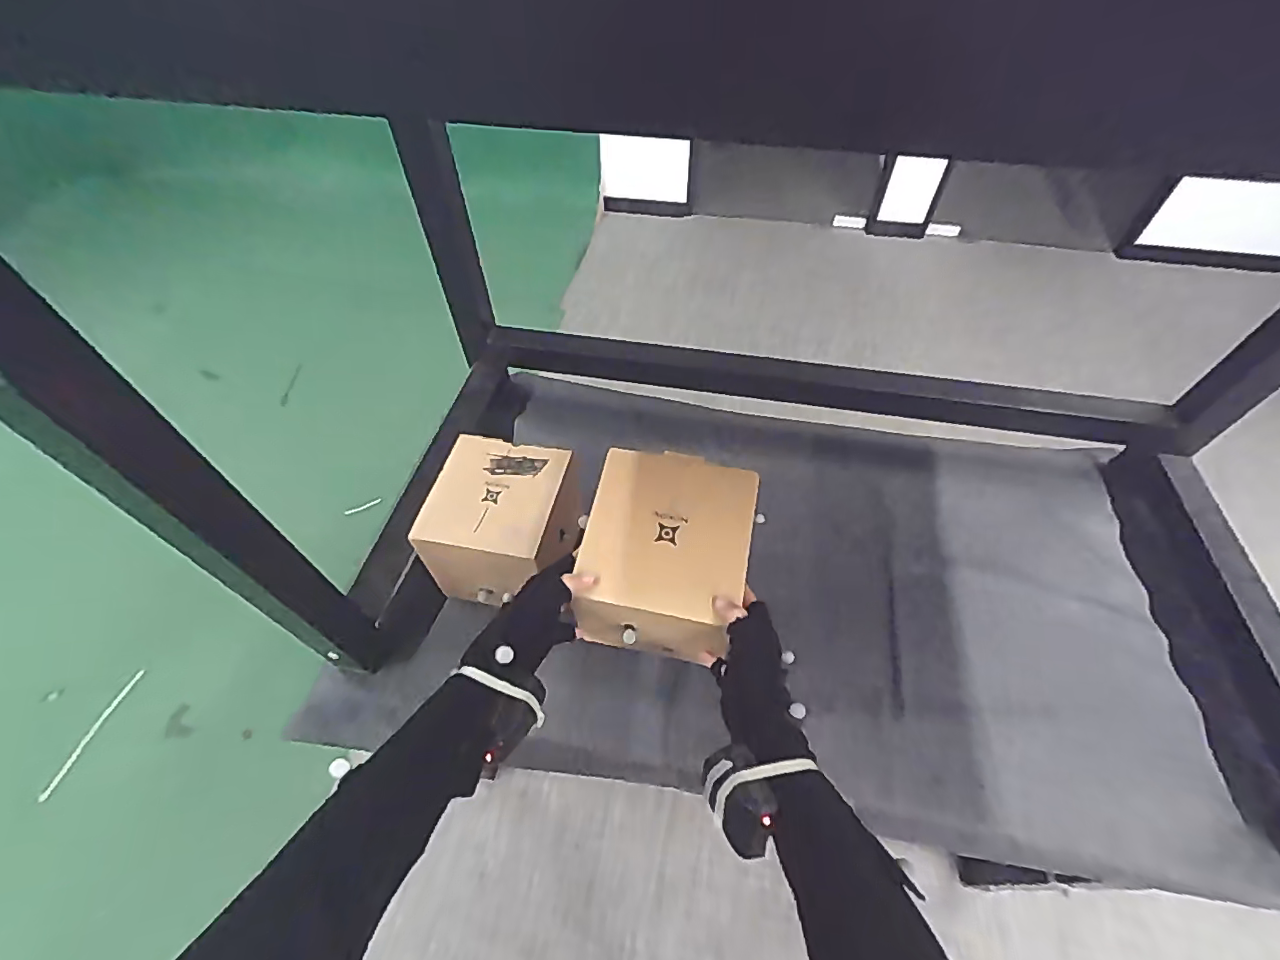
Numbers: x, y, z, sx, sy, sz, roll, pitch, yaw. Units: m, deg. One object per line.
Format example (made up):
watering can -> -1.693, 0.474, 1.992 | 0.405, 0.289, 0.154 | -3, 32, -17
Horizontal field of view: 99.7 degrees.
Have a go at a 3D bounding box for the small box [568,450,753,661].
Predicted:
small box -> 0.028, 0.093, 0.622 | 0.168, 0.176, 0.179 | 10, 58, 6

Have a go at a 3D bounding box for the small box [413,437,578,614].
small box -> -0.189, 0.067, 0.775 | 0.168, 0.176, 0.179 | 8, 52, 7
